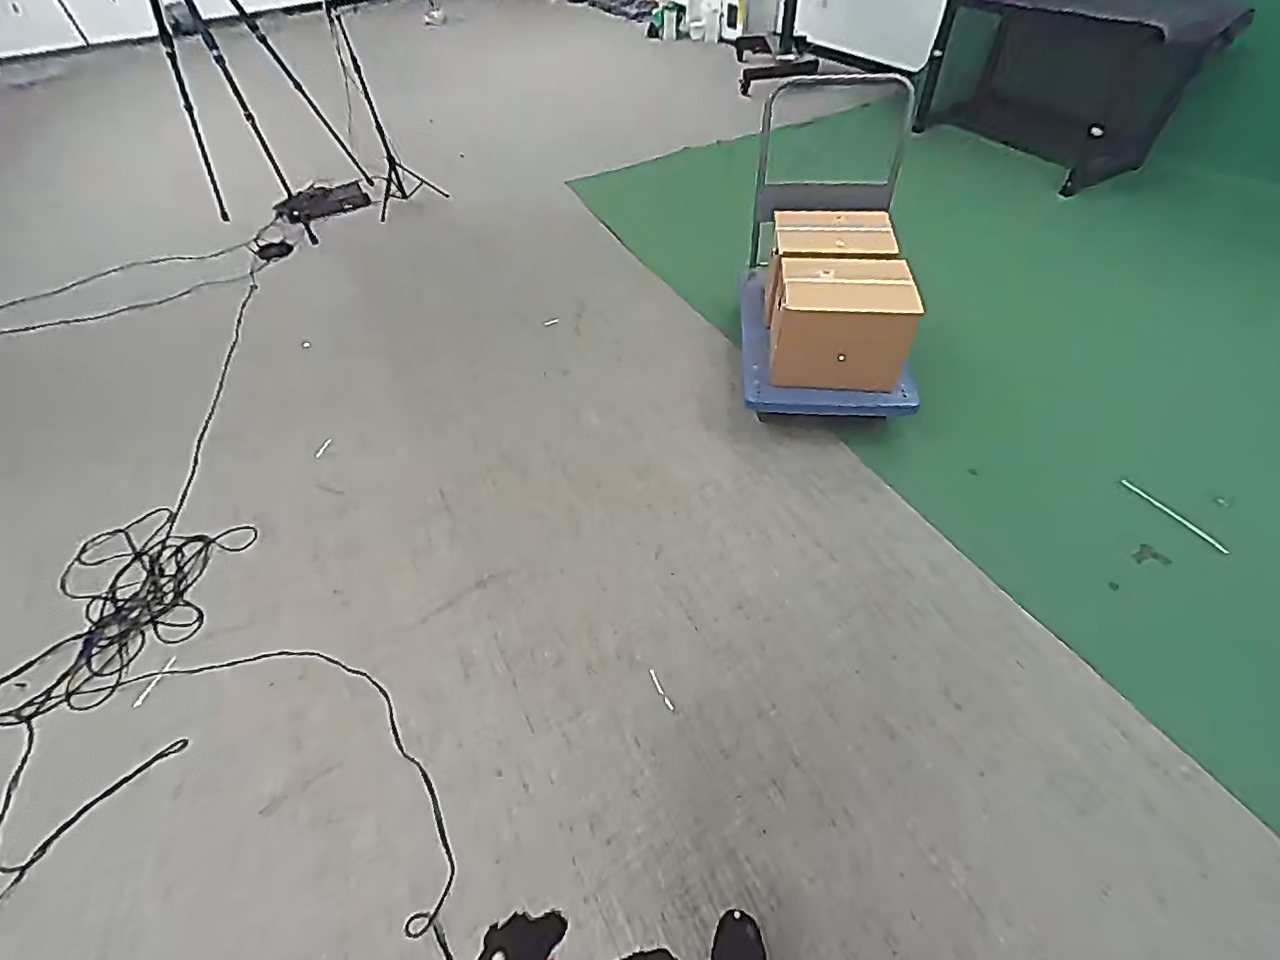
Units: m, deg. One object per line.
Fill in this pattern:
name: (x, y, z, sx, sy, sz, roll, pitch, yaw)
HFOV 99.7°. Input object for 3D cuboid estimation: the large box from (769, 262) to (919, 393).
large box: (0.658, -0.514, 1.824, 0.408, 0.320, 0.320, 4, 50, 8)
